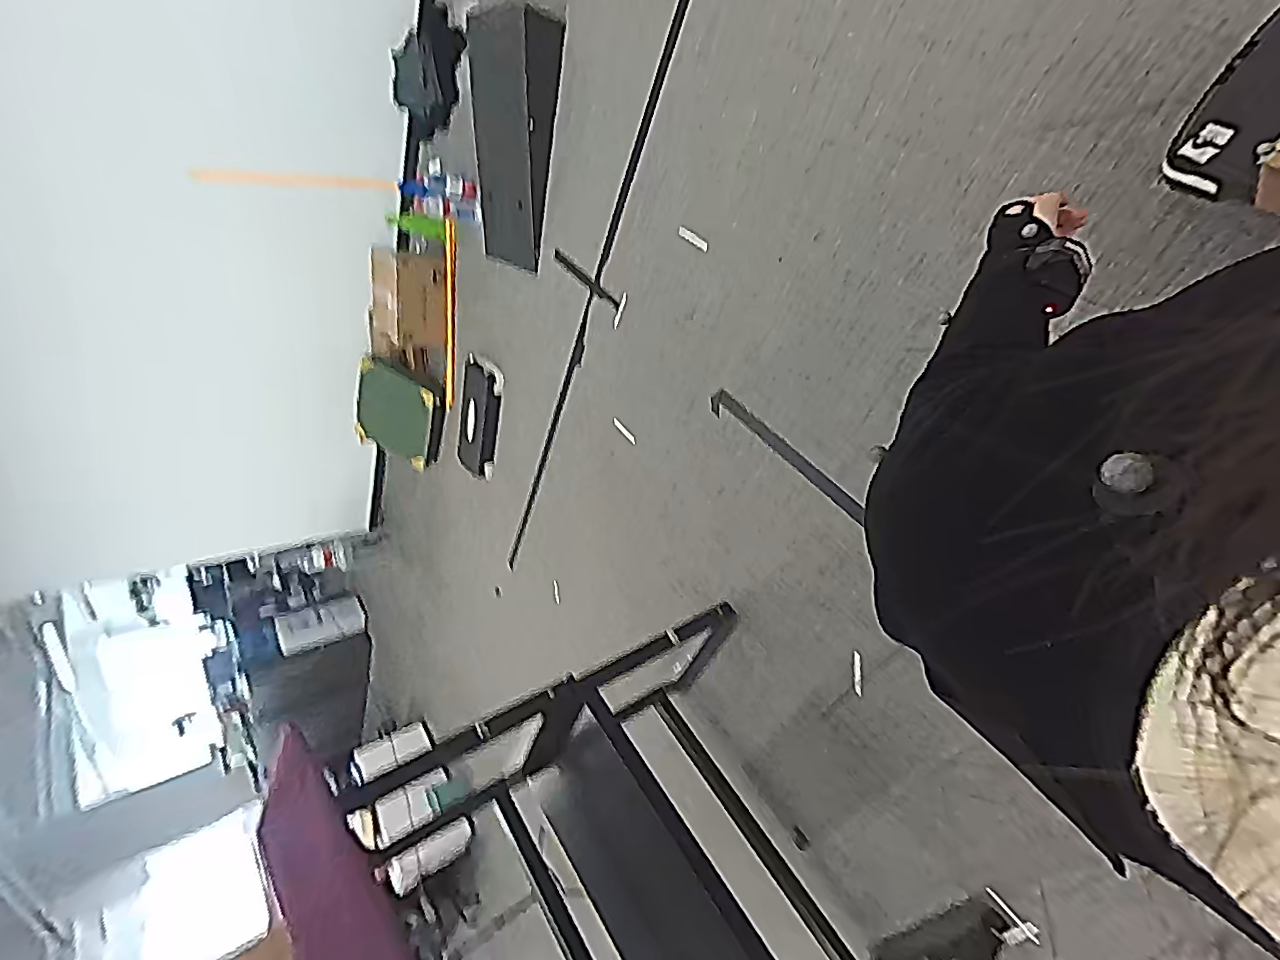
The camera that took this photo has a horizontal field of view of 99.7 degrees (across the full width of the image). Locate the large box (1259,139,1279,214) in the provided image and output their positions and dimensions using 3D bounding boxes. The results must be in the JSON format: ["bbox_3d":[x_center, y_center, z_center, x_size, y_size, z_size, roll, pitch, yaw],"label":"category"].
[{"bbox_3d":[1.027,-0.398,0.567,0.408,0.320,0.320,47,129,31],"label":"large box"}]

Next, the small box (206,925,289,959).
[{"bbox_3d":[-0.737,0.968,0.994,0.179,0.176,0.168,48,131,29],"label":"small box"}]
